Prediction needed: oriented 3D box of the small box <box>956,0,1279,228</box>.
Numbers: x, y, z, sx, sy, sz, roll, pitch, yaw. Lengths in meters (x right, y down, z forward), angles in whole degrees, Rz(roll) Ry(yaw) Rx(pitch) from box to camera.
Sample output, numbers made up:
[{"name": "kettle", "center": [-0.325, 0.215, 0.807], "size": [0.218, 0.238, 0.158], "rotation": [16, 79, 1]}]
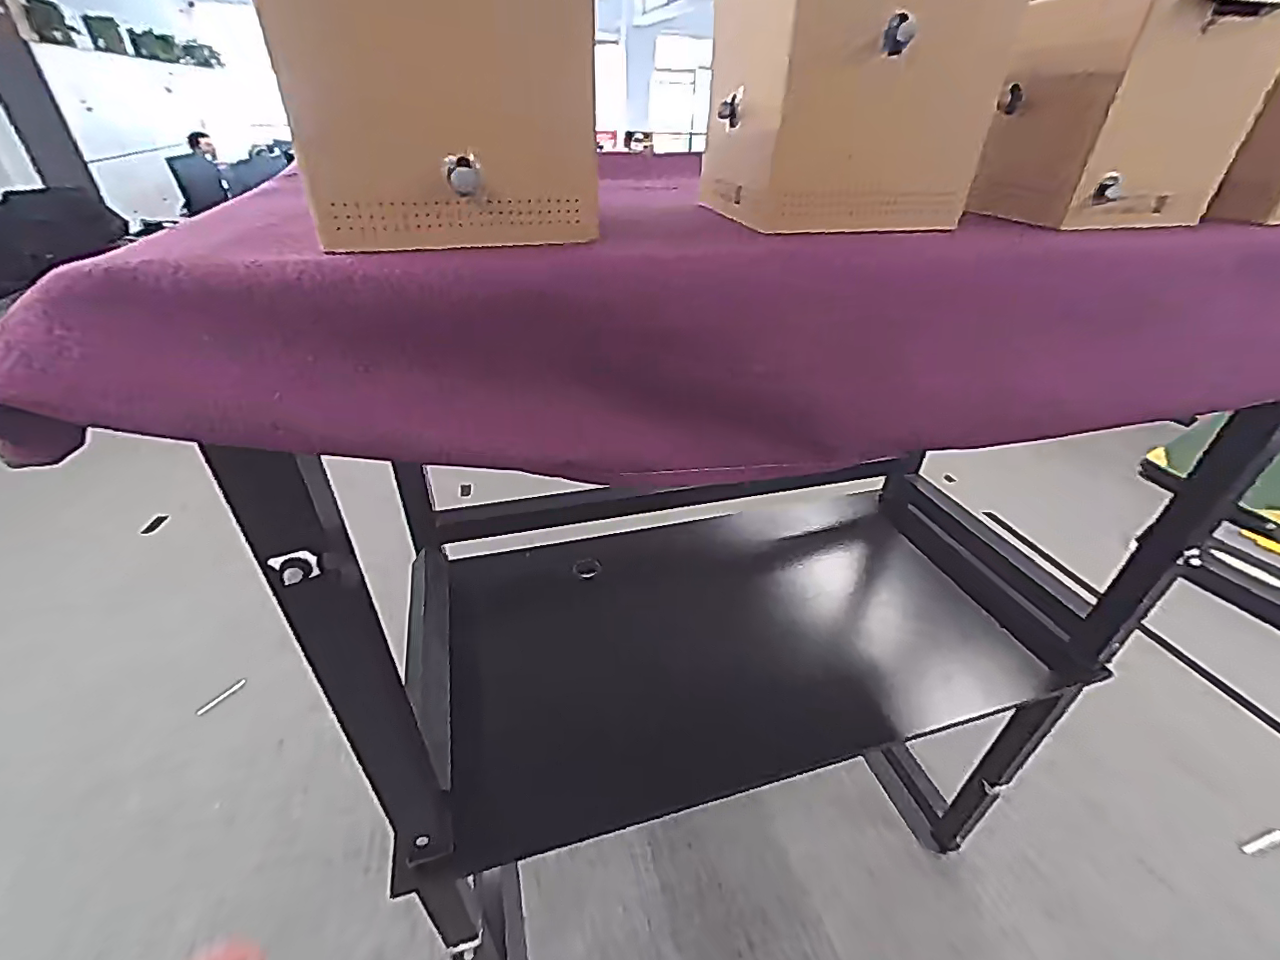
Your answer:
[{"name": "small box", "center": [0.417, -0.335, 0.499], "size": [0.168, 0.176, 0.179], "rotation": [-8, 34, -14]}]

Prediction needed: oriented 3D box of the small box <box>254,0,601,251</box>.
[{"name": "small box", "center": [-0.132, -0.258, 0.360], "size": [0.179, 0.176, 0.168], "rotation": [-11, 36, -20]}]

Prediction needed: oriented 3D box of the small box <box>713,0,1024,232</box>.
[{"name": "small box", "center": [0.166, -0.308, 0.447], "size": [0.179, 0.176, 0.168], "rotation": [-6, 35, -11]}]
